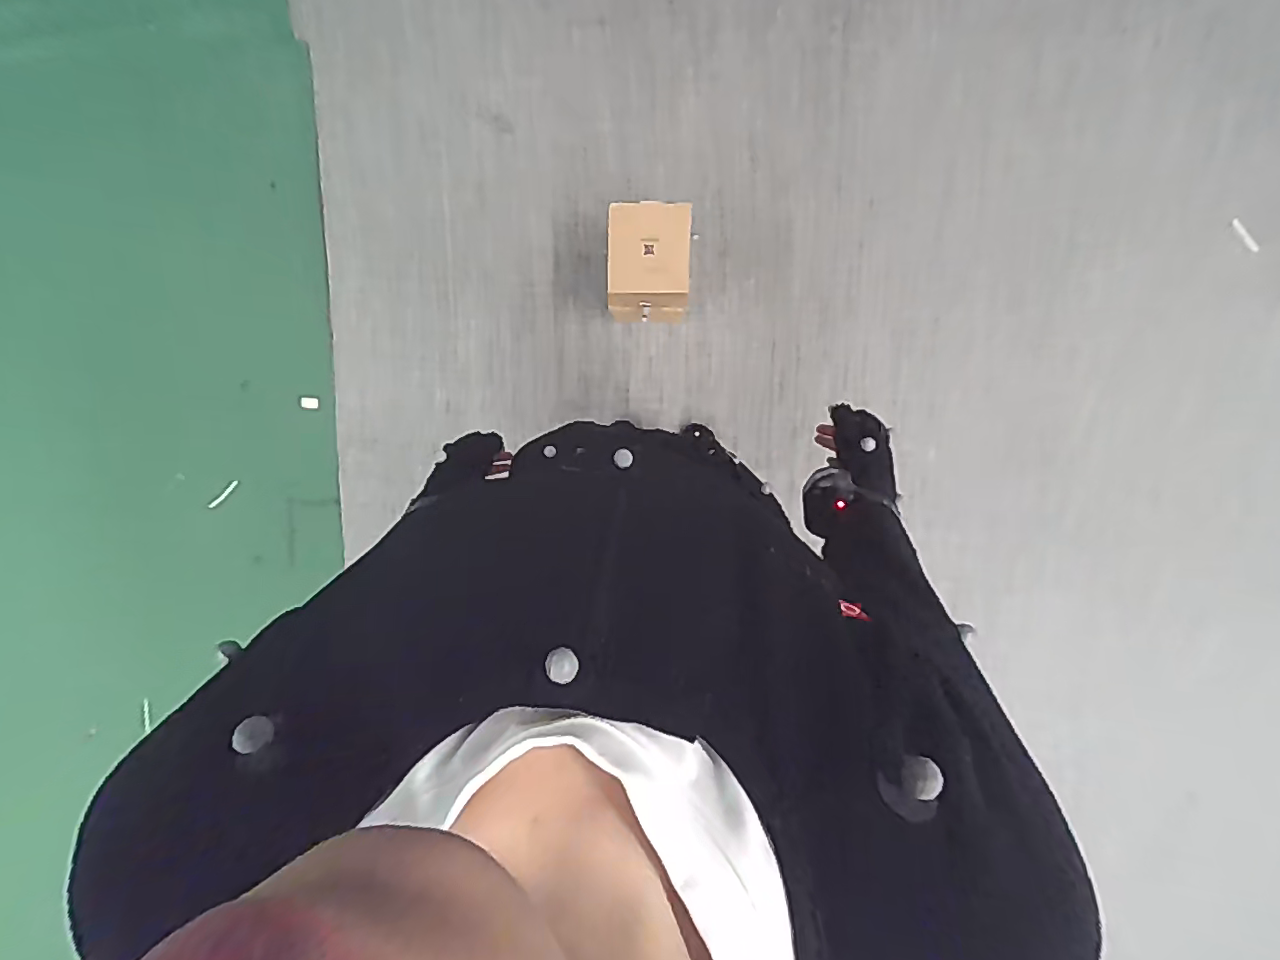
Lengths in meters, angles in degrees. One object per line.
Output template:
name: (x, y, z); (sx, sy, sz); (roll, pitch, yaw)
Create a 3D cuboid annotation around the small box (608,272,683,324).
small box: (0.020, -0.482, 1.324); (0.179, 0.176, 0.168); (2, 96, 4)

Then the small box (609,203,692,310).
small box: (0.026, -0.472, 1.163); (0.168, 0.176, 0.179); (1, 97, 5)
